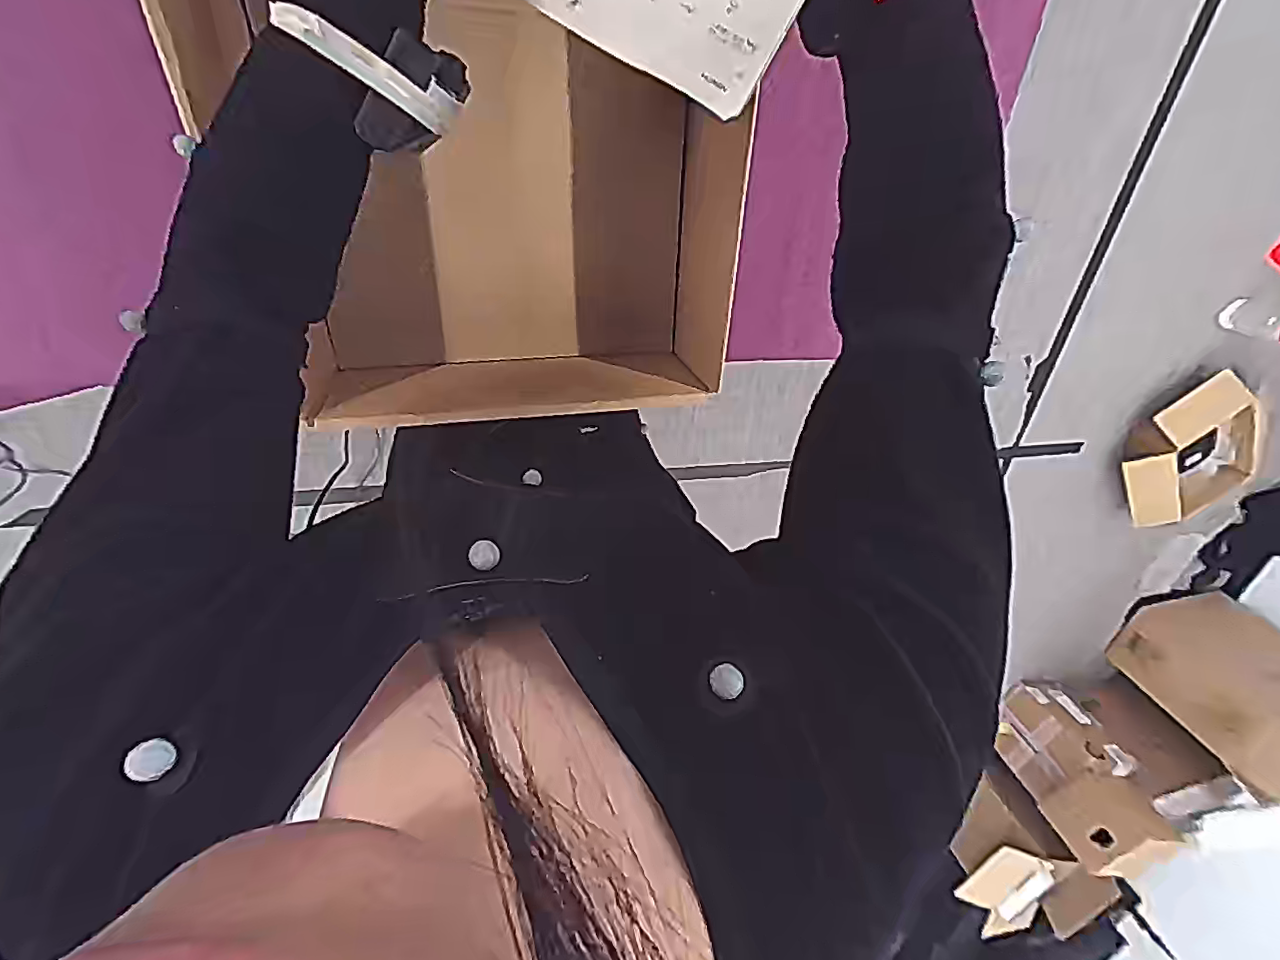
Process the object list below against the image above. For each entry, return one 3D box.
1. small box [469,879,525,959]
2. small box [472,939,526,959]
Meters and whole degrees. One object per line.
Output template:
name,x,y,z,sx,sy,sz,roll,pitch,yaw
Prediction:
small box,-0.486,1.501,1.839,0.179,0.176,0.168,-2,124,-16
small box,-0.446,1.599,1.713,0.168,0.176,0.179,0,123,-16
